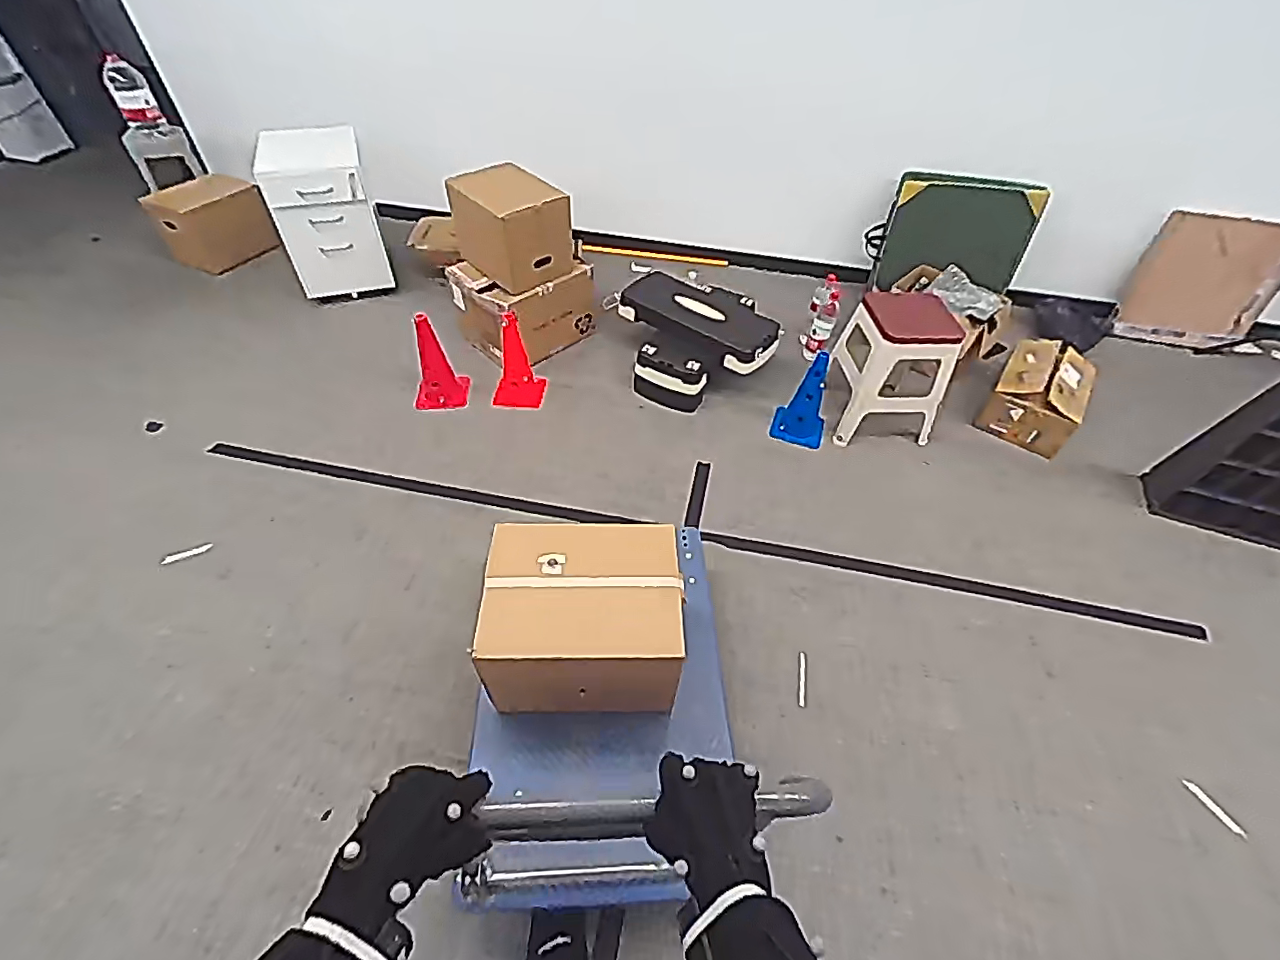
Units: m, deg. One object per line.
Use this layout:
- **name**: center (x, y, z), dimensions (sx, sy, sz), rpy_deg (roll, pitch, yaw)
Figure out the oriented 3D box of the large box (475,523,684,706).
- **large box**: center (-0.120, 0.311, 1.235), dimensions (0.408, 0.320, 0.320), rpy_deg (1, 49, -2)
